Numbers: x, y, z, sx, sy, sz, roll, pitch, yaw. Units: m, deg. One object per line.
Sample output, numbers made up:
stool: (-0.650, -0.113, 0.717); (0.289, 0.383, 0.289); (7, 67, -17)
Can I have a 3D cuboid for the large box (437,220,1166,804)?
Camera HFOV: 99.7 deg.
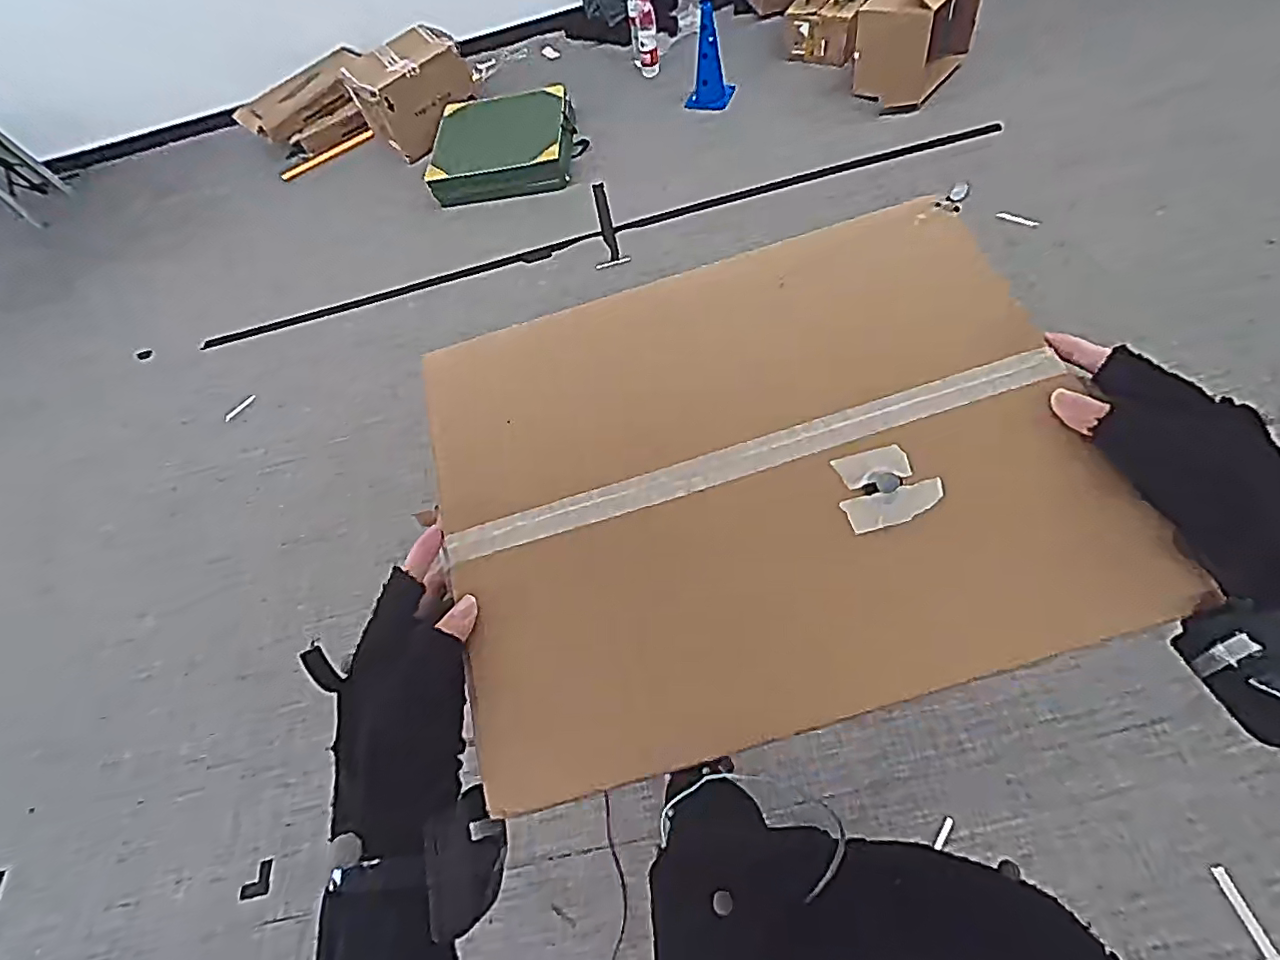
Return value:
large box: (0.087, 0.045, 0.500); (0.408, 0.320, 0.320); (-17, 69, 0)
